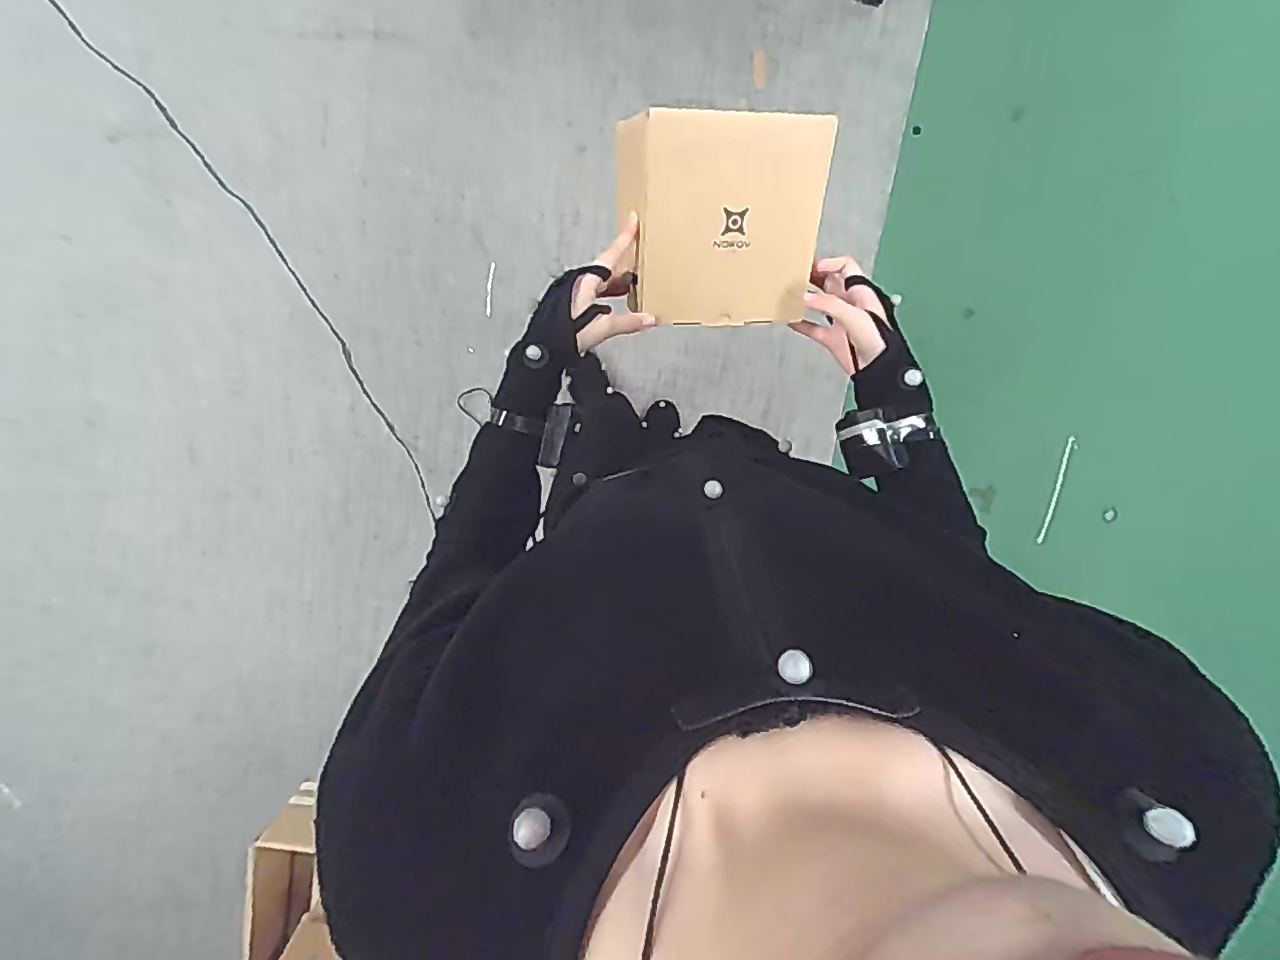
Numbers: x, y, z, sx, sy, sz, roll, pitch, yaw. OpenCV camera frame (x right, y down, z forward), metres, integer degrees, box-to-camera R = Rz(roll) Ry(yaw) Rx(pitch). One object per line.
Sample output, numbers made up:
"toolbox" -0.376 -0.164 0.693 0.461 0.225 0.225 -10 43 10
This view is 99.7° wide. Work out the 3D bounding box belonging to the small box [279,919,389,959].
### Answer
"small box" -0.603 0.975 1.012 0.179 0.176 0.168 14 100 -4
